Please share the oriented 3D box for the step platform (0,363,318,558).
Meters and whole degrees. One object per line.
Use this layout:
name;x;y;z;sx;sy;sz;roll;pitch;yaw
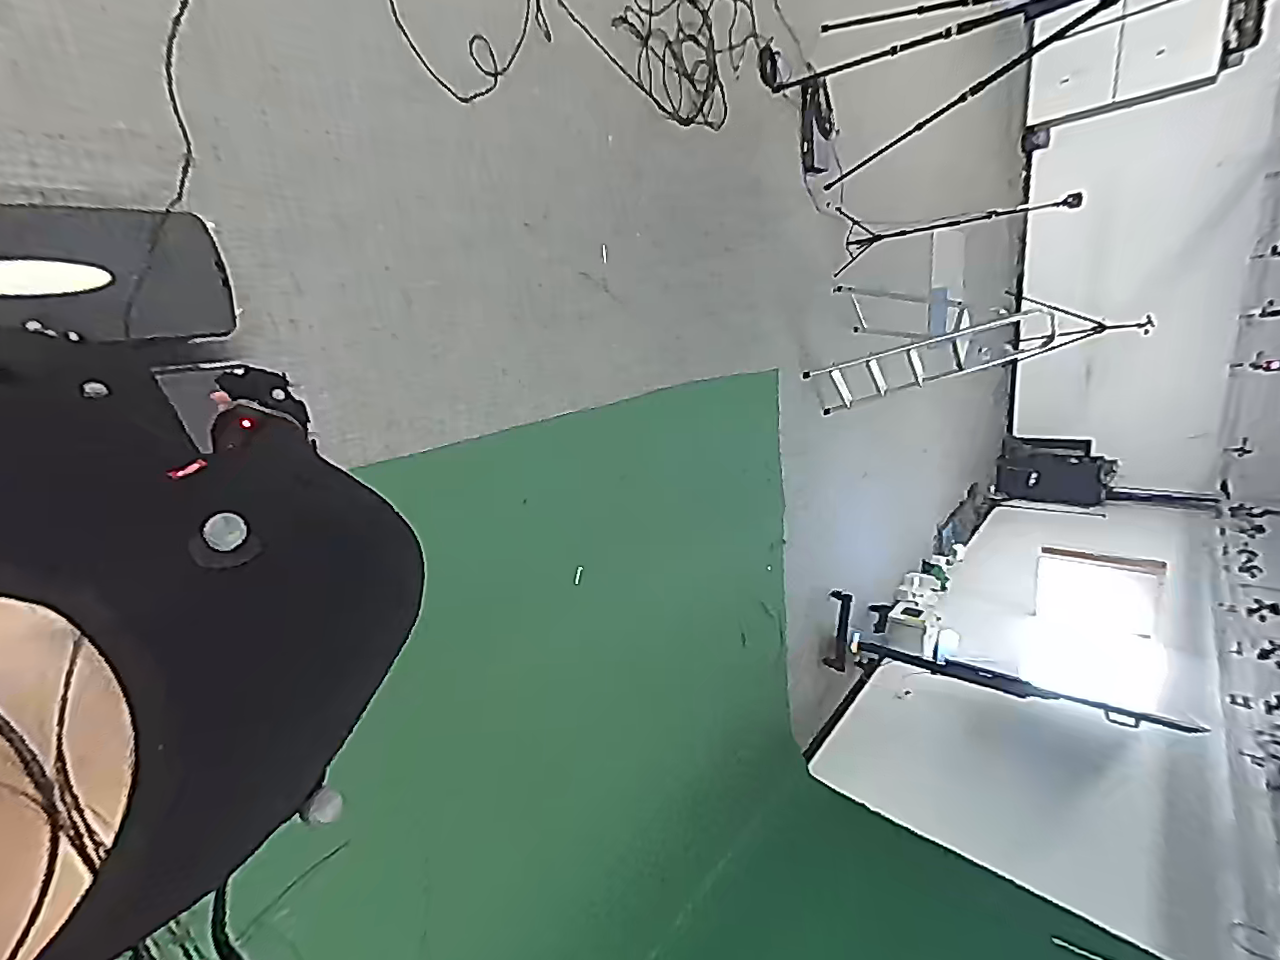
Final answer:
step platform;-1.013;-0.034;1.003;0.684;0.204;0.286;-23;112;-45
